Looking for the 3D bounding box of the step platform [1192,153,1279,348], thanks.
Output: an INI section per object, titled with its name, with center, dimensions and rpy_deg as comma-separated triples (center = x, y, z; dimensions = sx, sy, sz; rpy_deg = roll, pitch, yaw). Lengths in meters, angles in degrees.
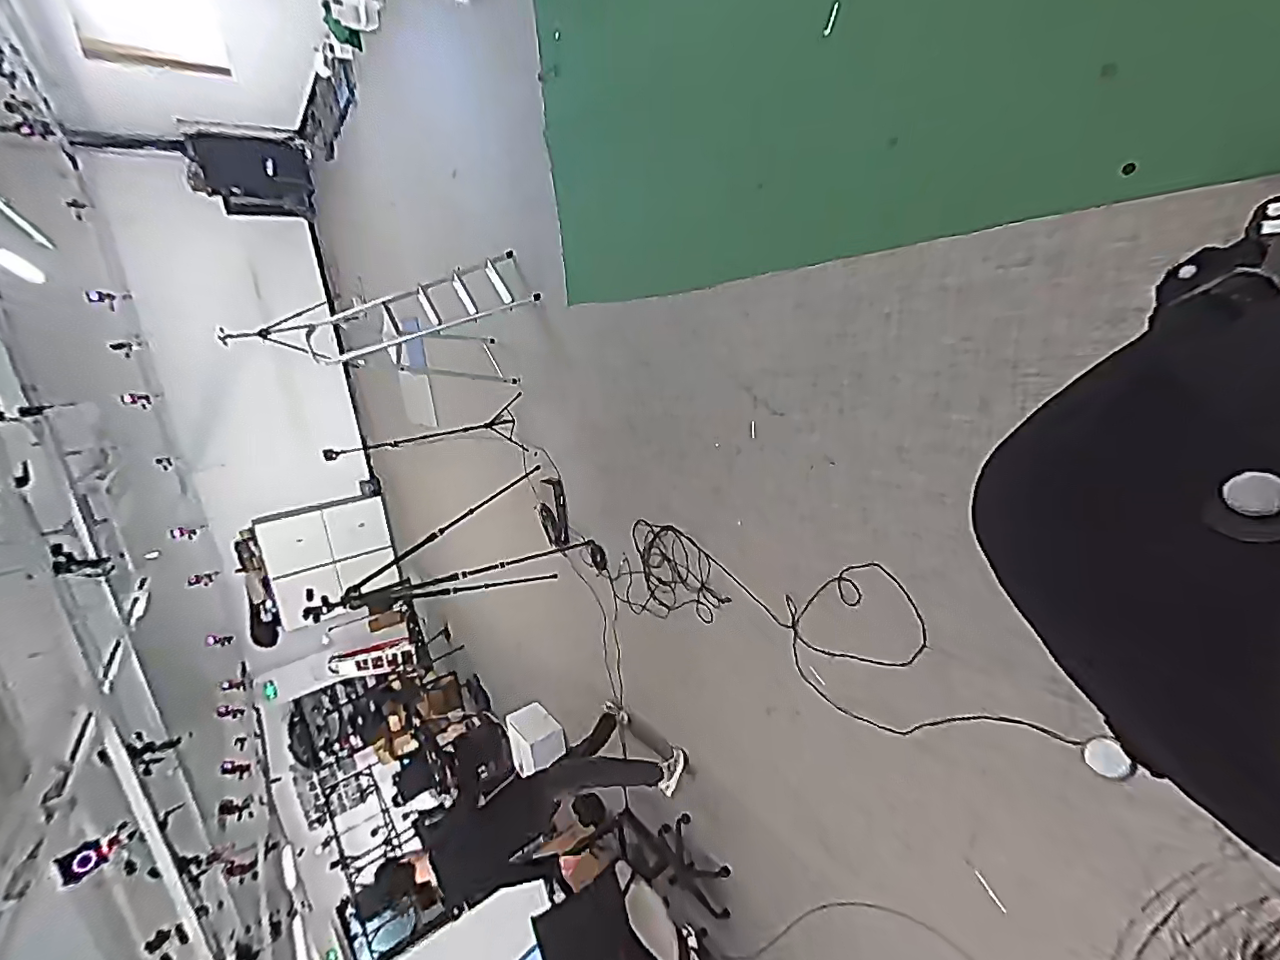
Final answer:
[step platform]
center = 1.205, -0.340, 0.687
dimensions = 0.684, 0.204, 0.286
rpy_deg = 13, 115, 52
